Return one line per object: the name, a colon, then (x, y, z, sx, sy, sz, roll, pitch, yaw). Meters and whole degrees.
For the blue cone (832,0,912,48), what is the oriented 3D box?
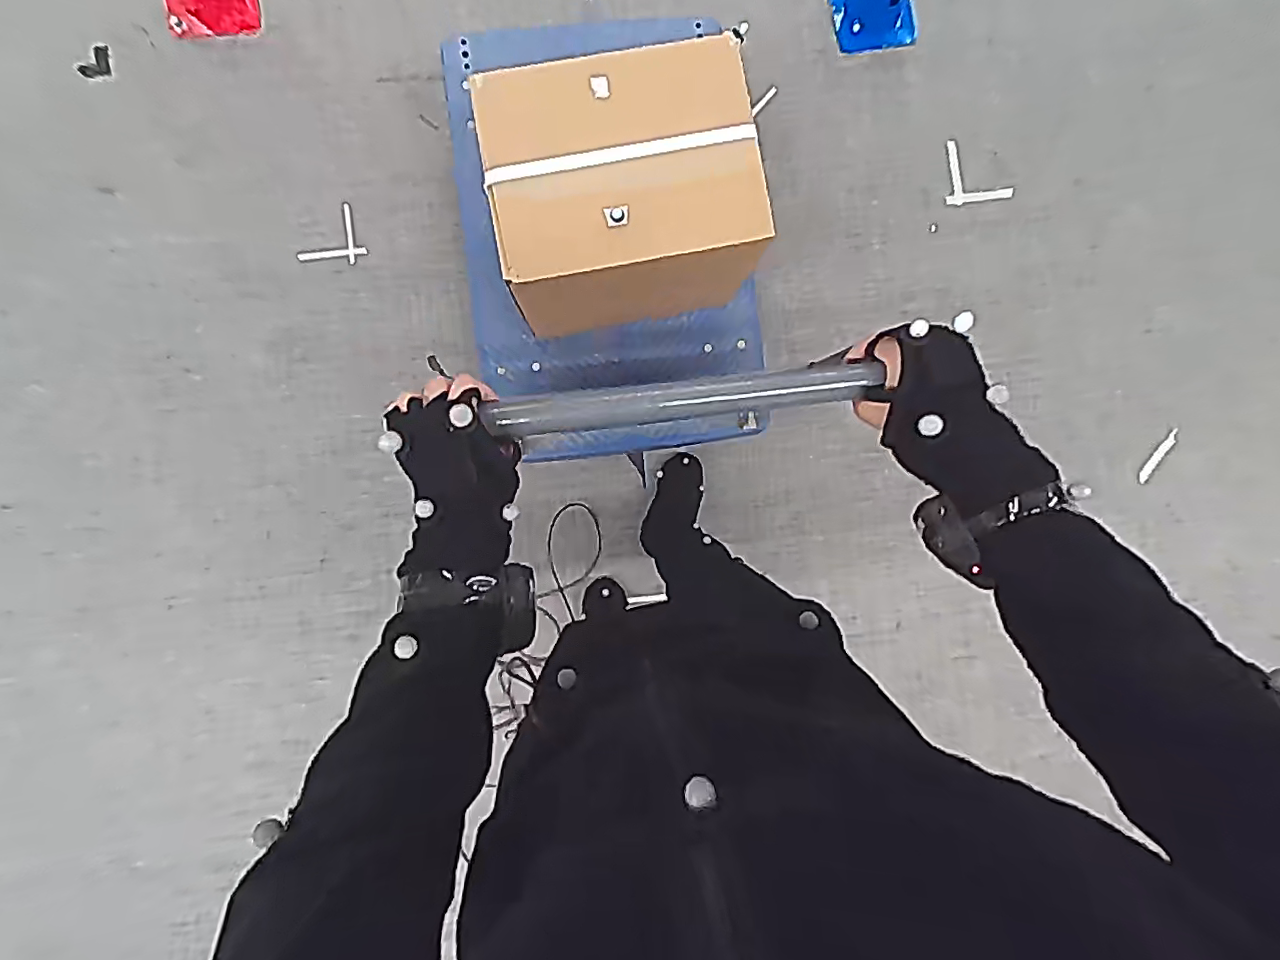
blue cone: (0.577, -1.159, 1.159, 0.193, 0.380, 0.192, -10, 89, -4)
